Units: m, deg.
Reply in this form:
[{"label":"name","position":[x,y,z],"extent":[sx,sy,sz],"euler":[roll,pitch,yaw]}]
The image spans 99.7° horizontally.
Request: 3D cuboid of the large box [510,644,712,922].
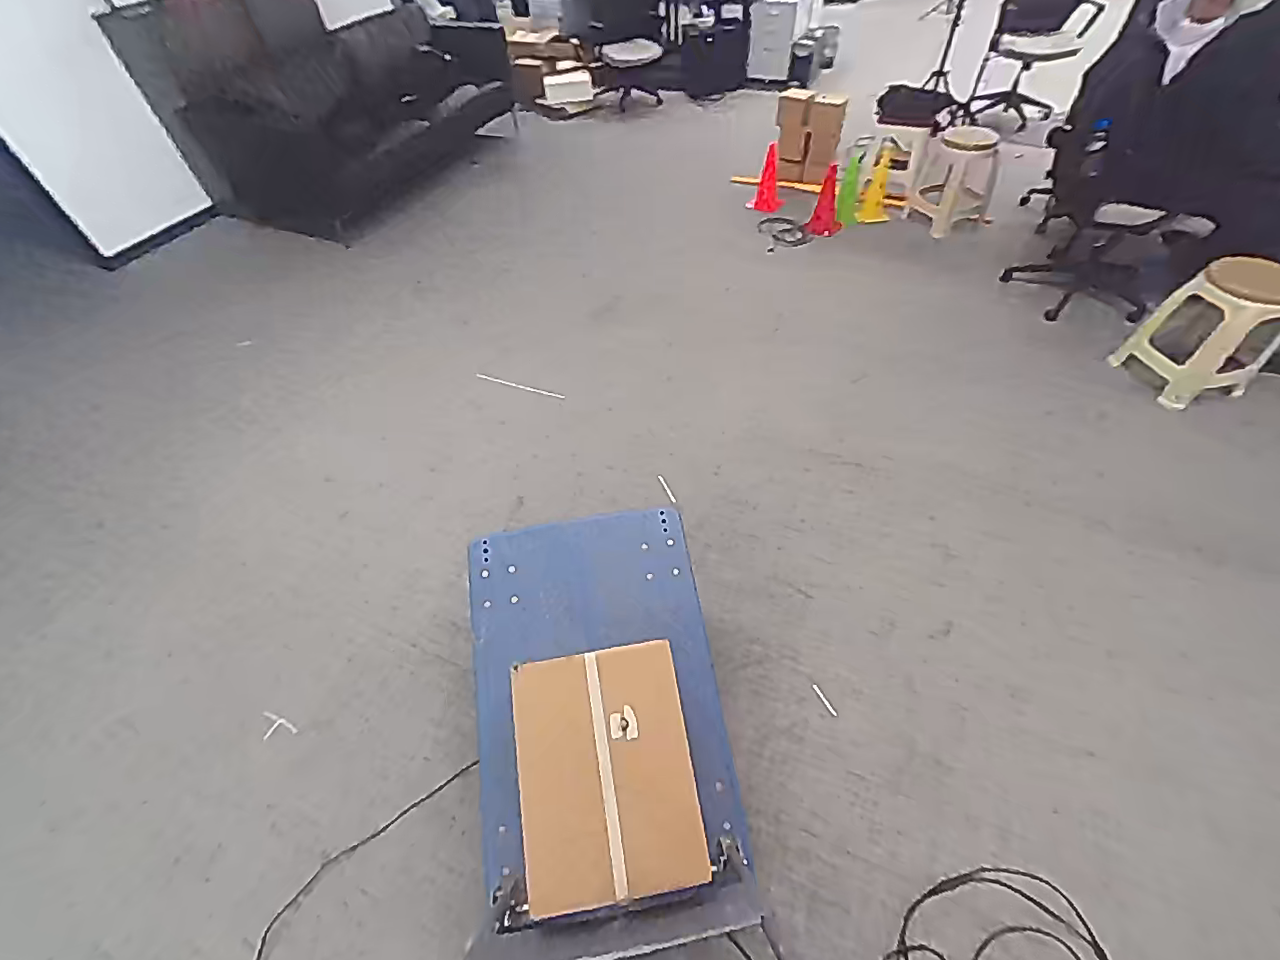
[{"label":"large box","position":[-0.062,0.585,1.110],"extent":[0.320,0.320,0.408],"euler":[-9,67,-4]}]
